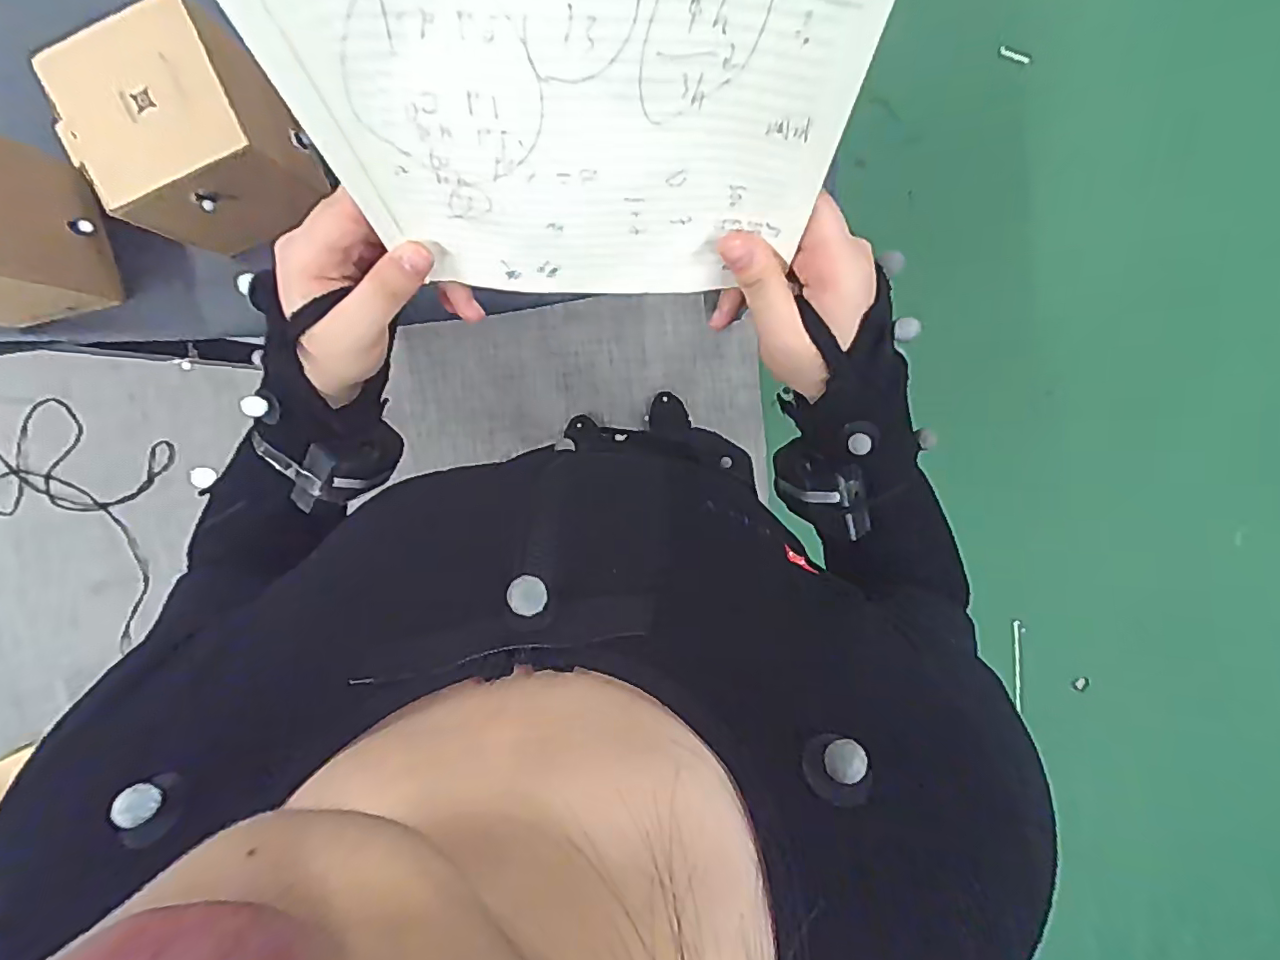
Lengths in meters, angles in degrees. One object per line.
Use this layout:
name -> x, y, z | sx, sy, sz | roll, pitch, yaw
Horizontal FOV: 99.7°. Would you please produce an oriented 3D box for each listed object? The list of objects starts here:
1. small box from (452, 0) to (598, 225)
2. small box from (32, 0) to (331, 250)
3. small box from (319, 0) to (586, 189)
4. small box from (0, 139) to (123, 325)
small box -> -0.145, -0.422, 0.622 | 0.168, 0.176, 0.179 | 9, 98, 1
small box -> -0.516, -0.400, 0.638 | 0.179, 0.176, 0.168 | -23, 97, 4
small box -> -0.145, -0.377, 0.464 | 0.179, 0.176, 0.168 | -7, 97, 3
small box -> -0.803, -0.303, 0.657 | 0.168, 0.176, 0.179 | -12, 97, 3
